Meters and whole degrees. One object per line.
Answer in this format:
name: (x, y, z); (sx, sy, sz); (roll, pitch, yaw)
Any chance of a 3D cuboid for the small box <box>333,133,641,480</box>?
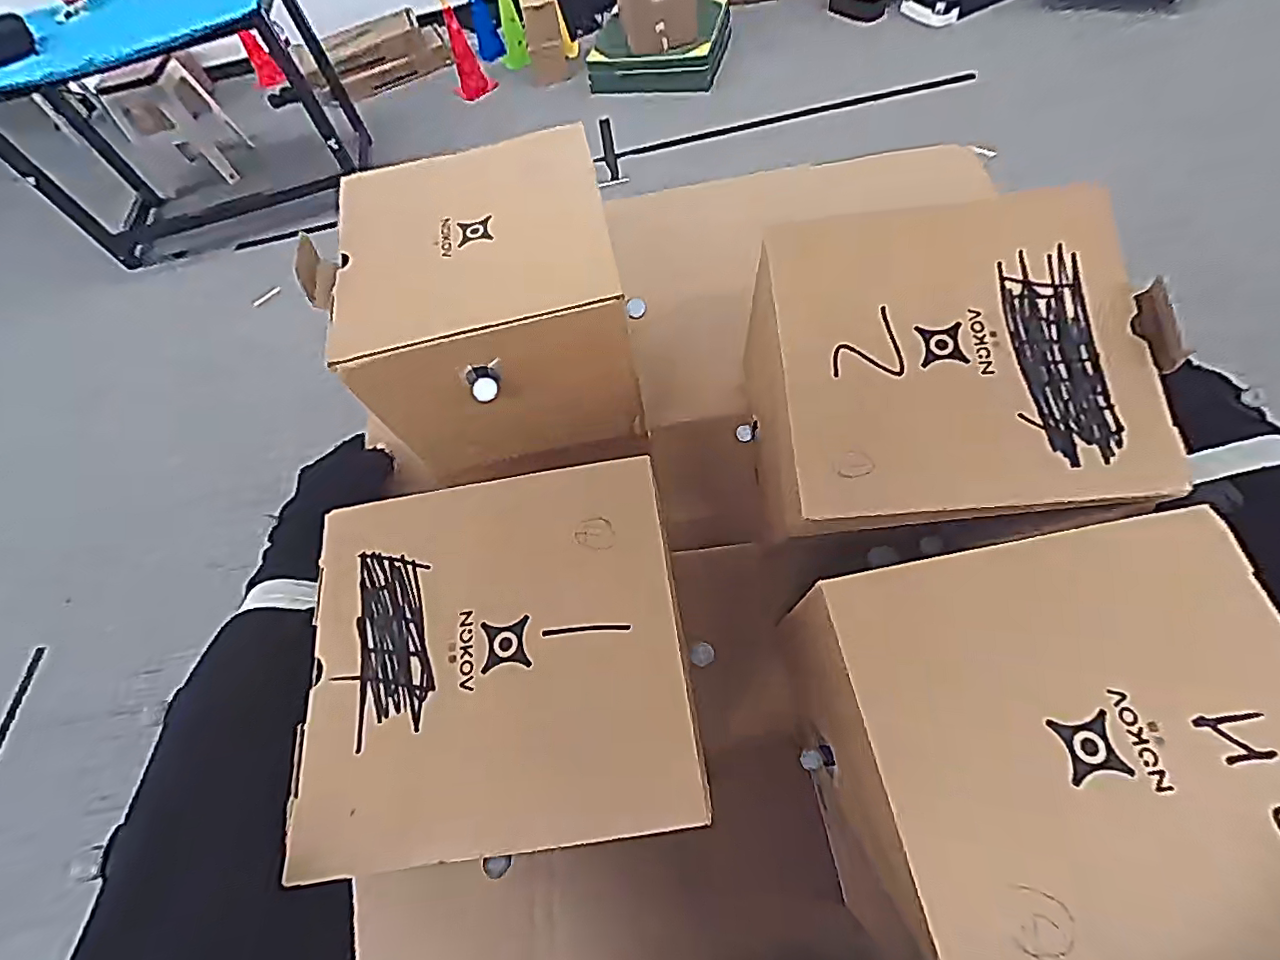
small box: (-0.100, -0.120, 0.419); (0.179, 0.176, 0.168); (-13, 63, 2)
